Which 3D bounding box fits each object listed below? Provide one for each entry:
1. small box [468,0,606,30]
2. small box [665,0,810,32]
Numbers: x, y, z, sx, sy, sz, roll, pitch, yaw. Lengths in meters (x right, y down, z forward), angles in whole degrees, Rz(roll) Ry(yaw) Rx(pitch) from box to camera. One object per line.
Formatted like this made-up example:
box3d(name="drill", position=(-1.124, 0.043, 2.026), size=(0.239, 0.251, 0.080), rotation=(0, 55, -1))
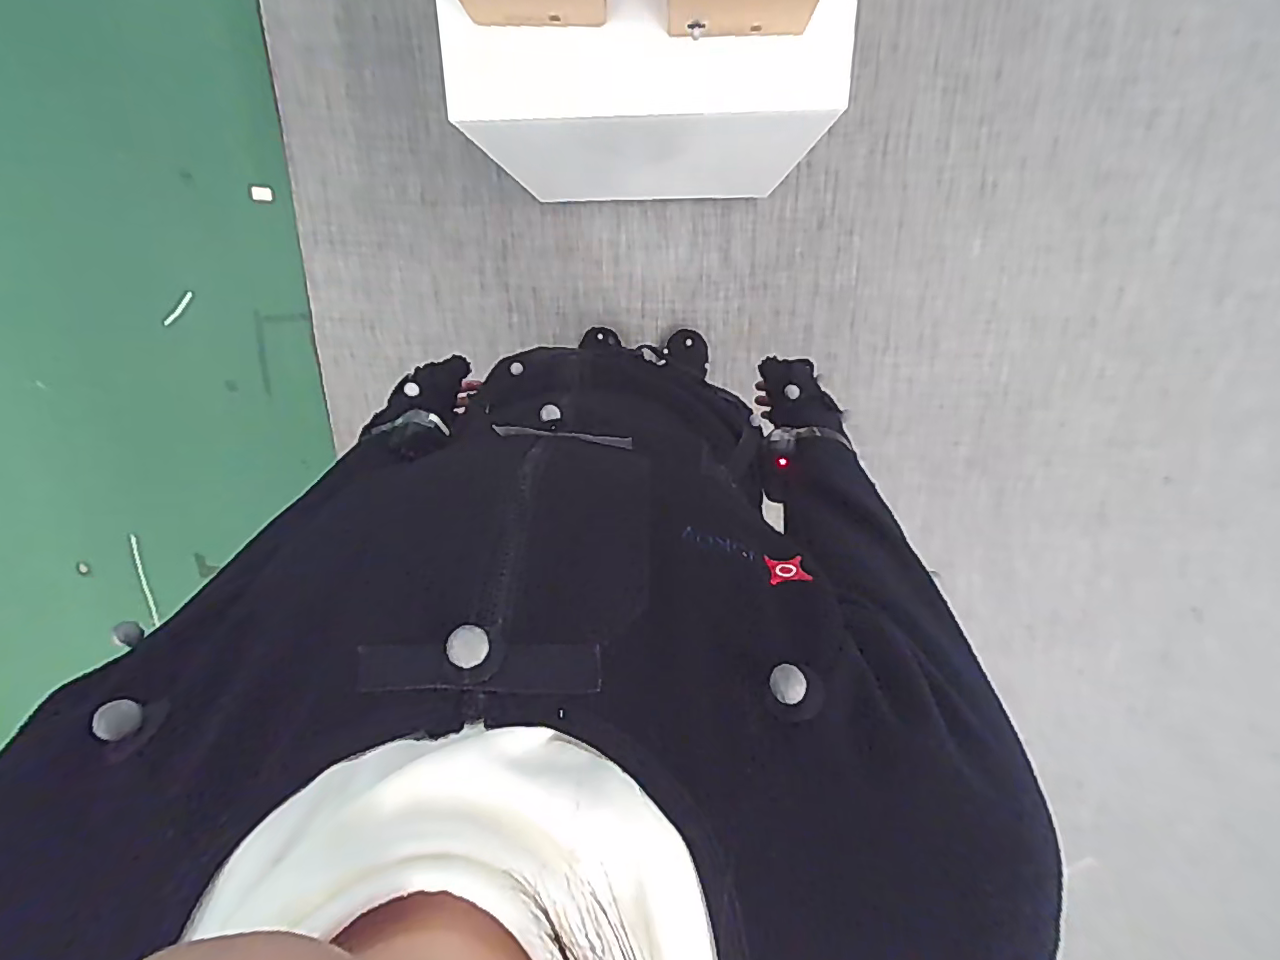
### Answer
box3d(name="small box", position=(-0.124, -0.618, 0.563), size=(0.168, 0.176, 0.179), rotation=(3, 106, 3))
box3d(name="small box", position=(0.109, -0.601, 0.557), size=(0.168, 0.176, 0.179), rotation=(1, 106, 3))
